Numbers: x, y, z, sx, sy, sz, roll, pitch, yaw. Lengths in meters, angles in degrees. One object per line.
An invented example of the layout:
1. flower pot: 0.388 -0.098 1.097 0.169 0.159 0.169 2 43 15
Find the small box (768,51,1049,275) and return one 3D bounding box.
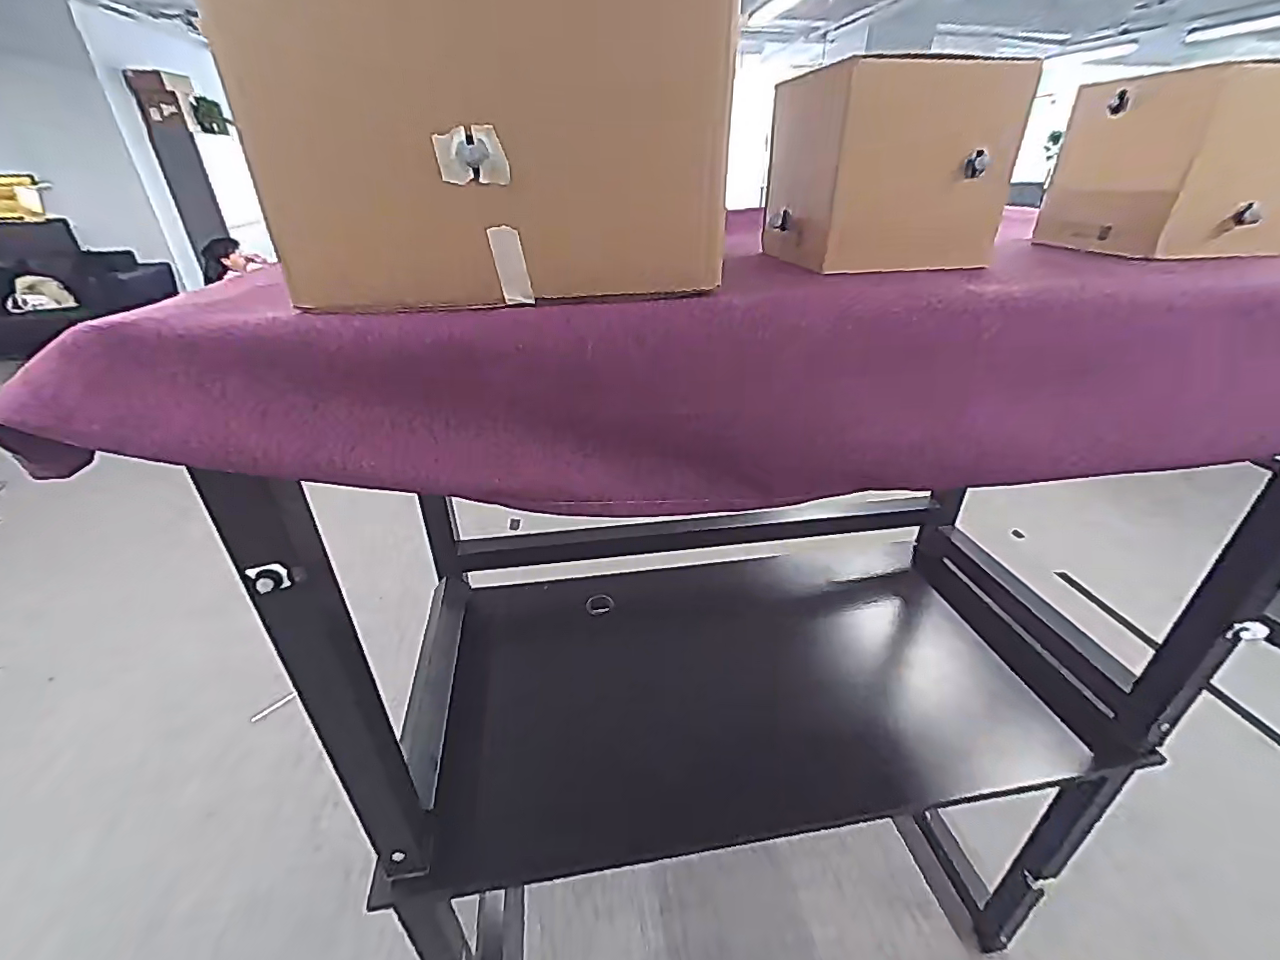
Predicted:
1. small box: 0.245 -0.309 0.544 0.179 0.176 0.168 -5 29 -7

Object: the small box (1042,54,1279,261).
1. small box: 0.596 -0.340 0.588 0.179 0.176 0.168 -4 29 -6
